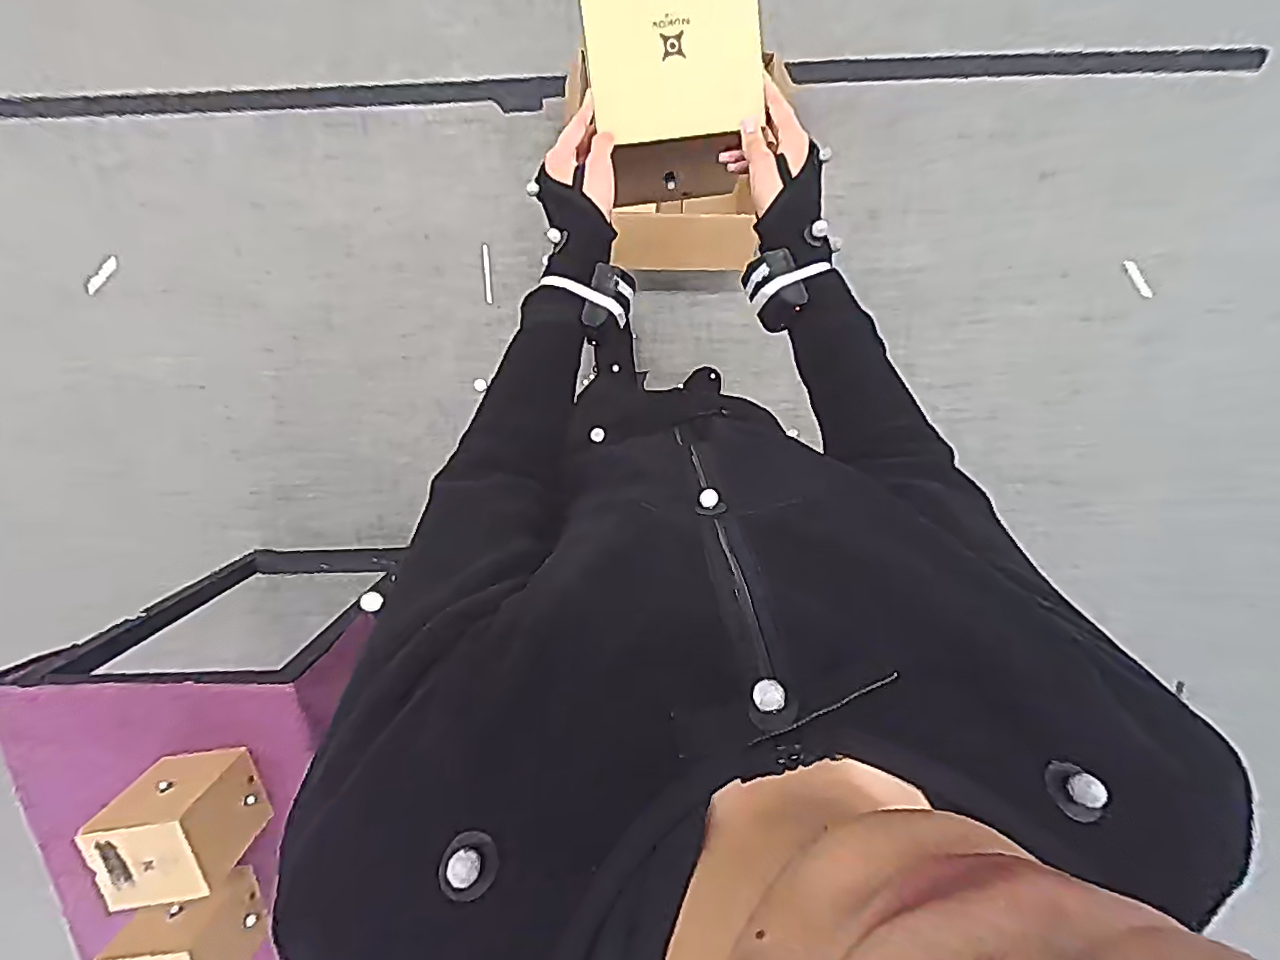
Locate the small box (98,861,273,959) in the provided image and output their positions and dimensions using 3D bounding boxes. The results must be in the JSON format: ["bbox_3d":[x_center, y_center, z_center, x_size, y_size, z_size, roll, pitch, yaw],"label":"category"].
[{"bbox_3d":[-0.876,0.891,1.061,0.179,0.176,0.168,-7,105,1],"label":"small box"}]

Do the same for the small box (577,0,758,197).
[{"bbox_3d":[0.024,-0.432,0.594,0.168,0.176,0.179,-7,98,-2],"label":"small box"}]
